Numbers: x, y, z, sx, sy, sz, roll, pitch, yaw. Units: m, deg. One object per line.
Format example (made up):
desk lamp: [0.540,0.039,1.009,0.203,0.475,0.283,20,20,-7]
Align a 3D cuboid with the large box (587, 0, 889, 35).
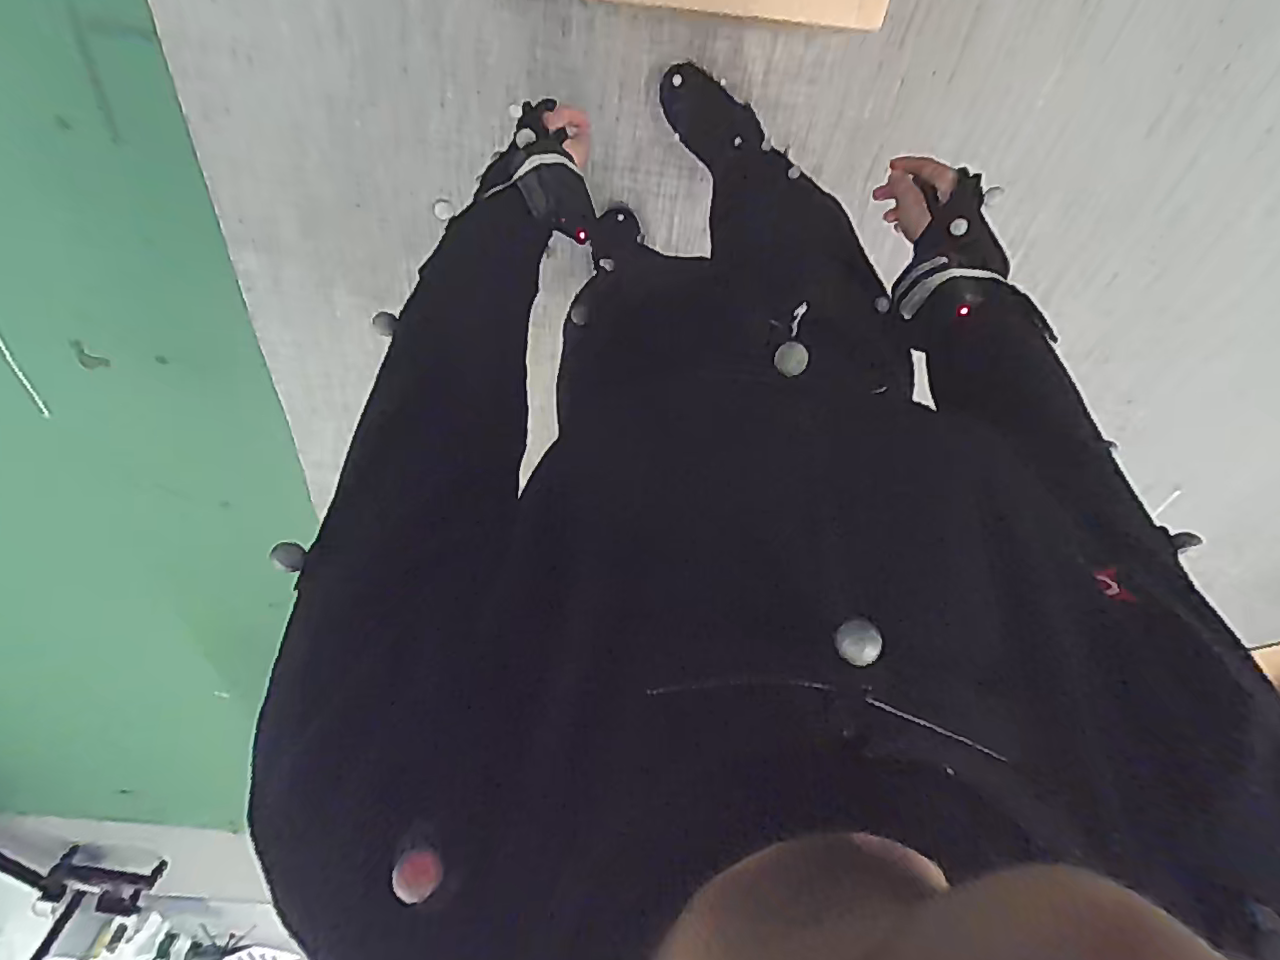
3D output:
large box: [0.132,-0.820,0.730,0.408,0.320,0.320,4,129,-3]
